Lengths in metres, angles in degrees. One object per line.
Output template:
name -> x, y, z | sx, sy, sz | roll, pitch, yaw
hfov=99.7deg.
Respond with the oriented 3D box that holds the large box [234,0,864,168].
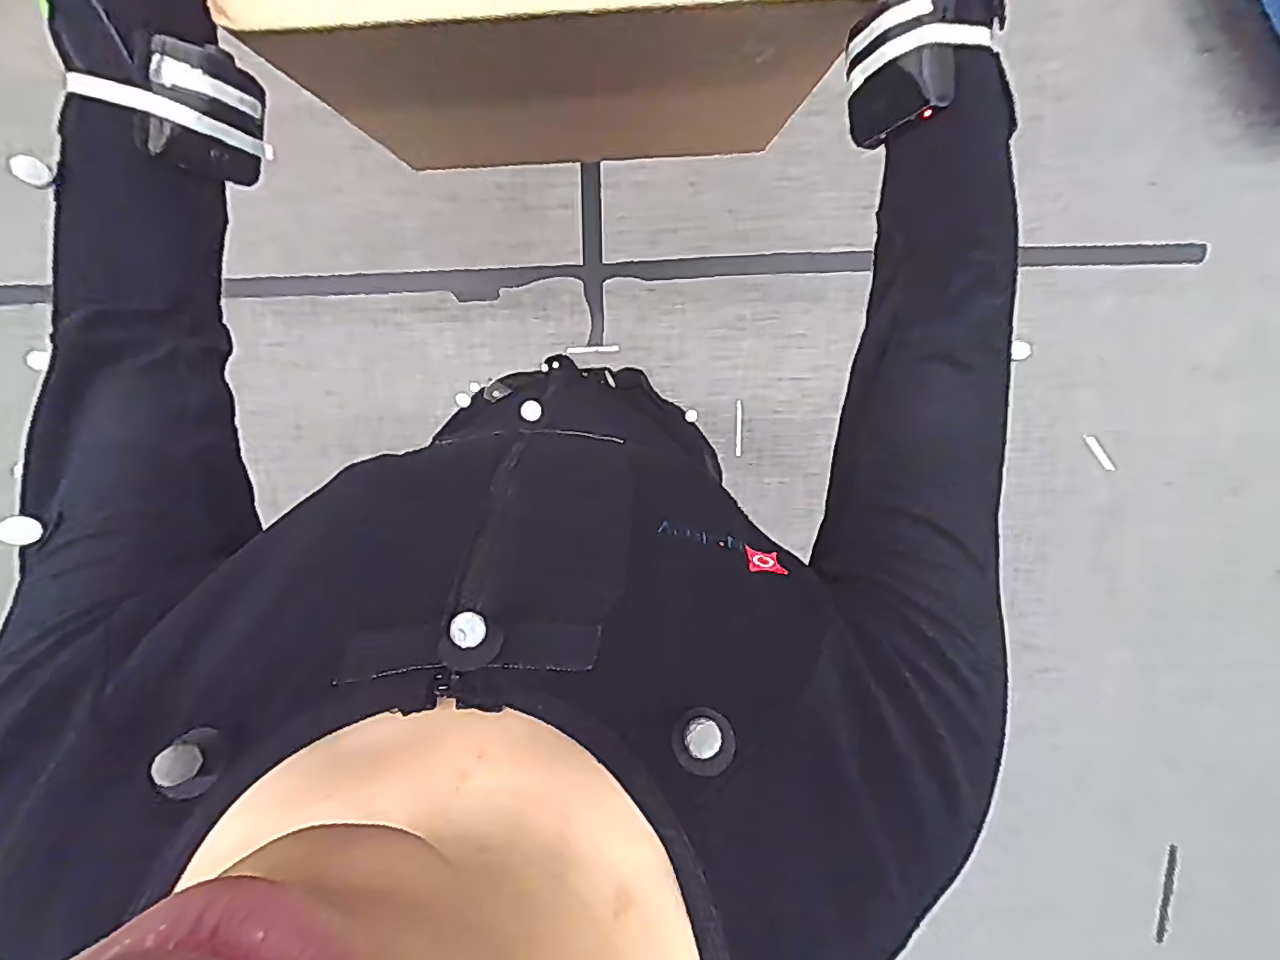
large box -> -0.062, -0.474, 0.432 | 0.408, 0.320, 0.320 | -4, 106, -1
